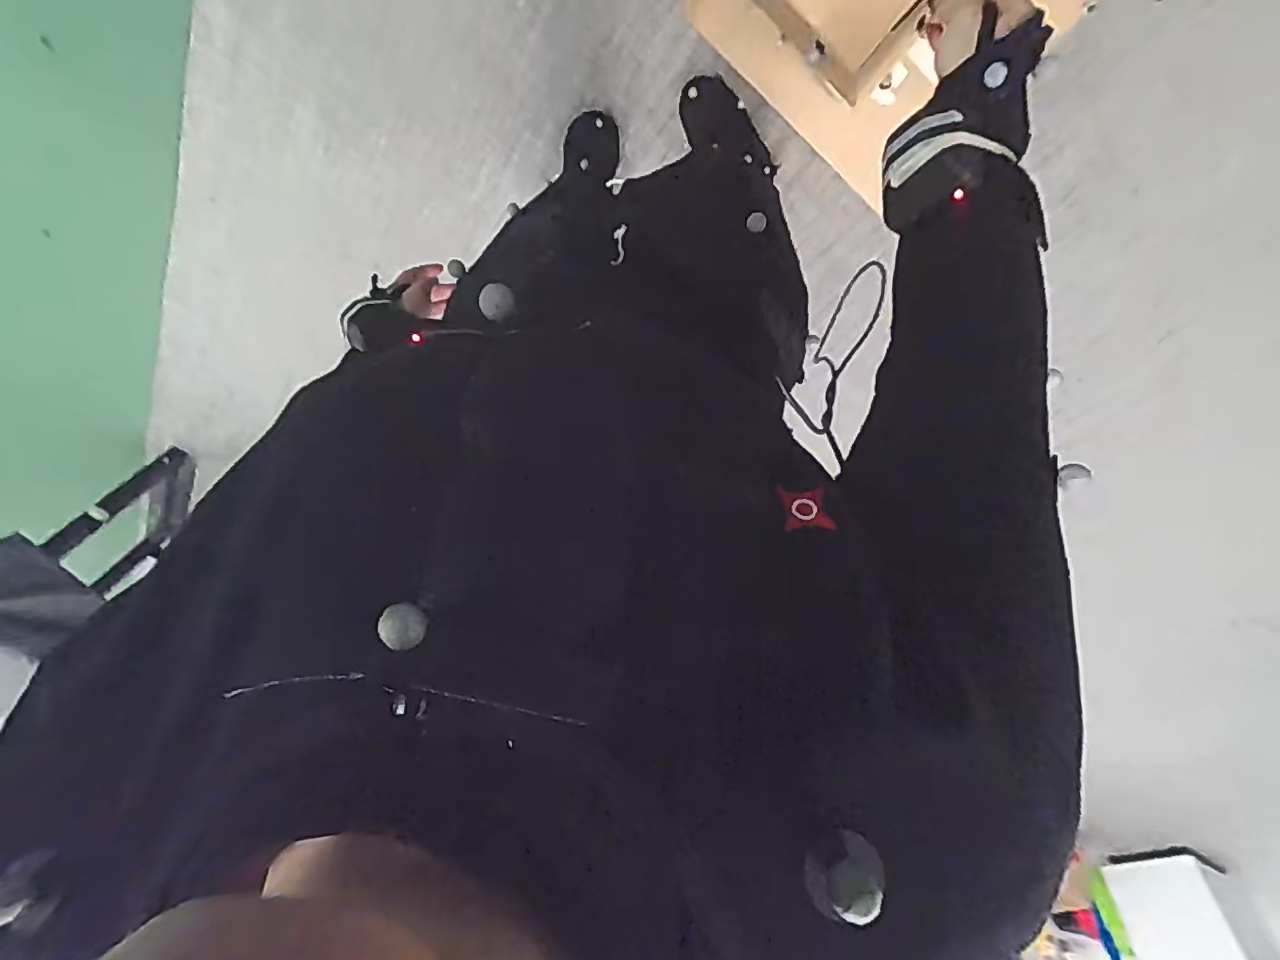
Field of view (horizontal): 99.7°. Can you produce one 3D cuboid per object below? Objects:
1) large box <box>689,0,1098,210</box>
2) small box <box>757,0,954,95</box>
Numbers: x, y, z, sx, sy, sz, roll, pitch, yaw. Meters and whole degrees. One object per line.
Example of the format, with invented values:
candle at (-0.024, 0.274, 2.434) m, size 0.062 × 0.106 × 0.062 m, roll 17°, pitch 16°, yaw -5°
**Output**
large box at (0.325, -0.691, 0.789) m, size 0.408 × 0.320 × 0.320 m, roll 33°, pitch 129°, yaw -18°
small box at (0.185, -0.452, 0.434) m, size 0.179 × 0.176 × 0.168 m, roll 43°, pitch 122°, yaw -5°
